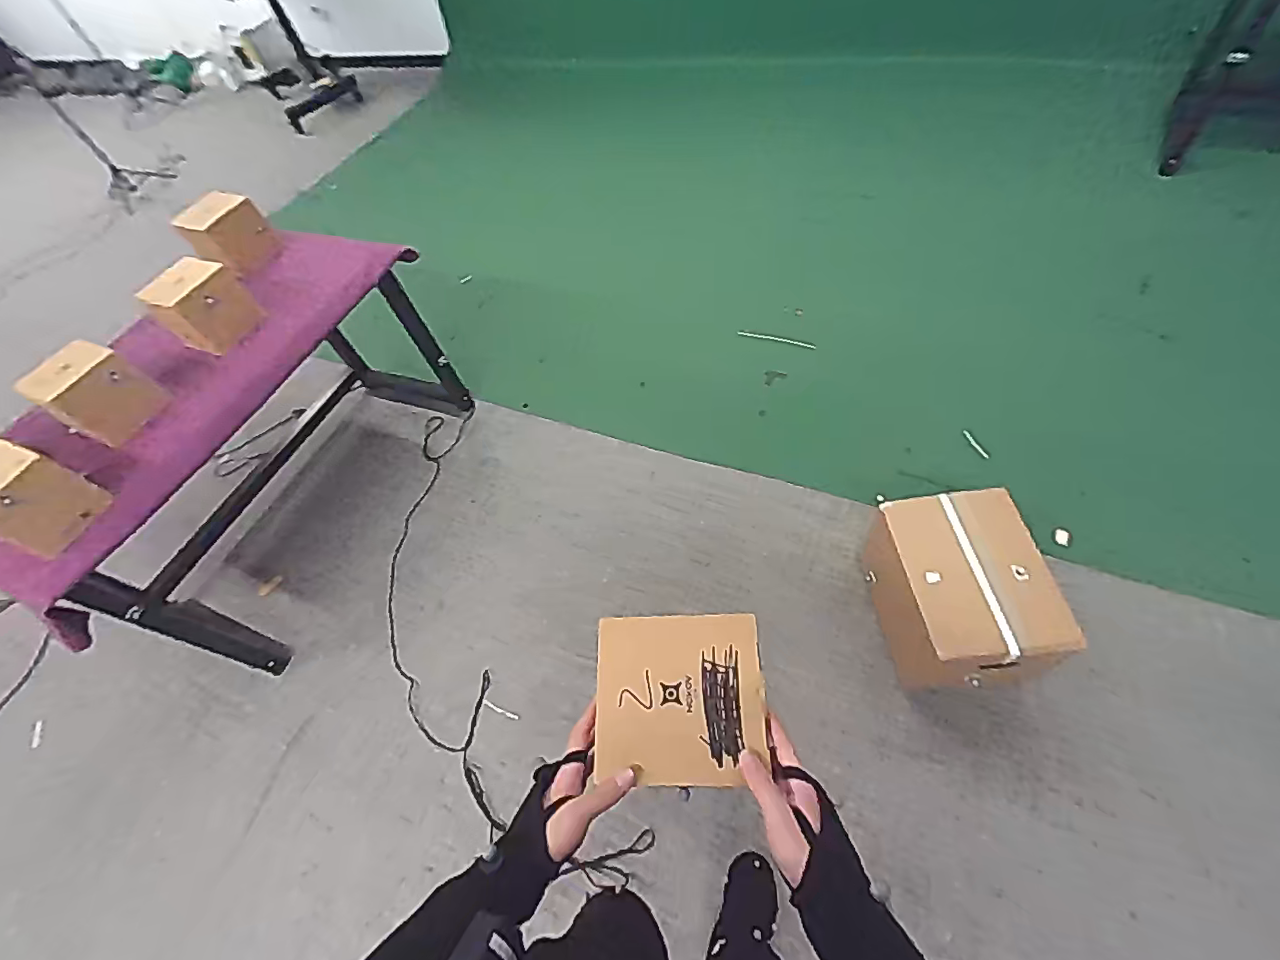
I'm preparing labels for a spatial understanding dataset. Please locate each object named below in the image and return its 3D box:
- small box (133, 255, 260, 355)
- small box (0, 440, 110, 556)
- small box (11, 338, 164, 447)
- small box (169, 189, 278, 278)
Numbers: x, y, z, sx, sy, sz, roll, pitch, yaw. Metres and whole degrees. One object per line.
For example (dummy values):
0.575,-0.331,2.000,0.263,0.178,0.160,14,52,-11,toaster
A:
-1.178,-0.471,1.458,0.168,0.176,0.179,17,63,20,small box
-1.302,0.040,1.139,0.179,0.176,0.168,14,61,20,small box
-1.319,-0.212,1.310,0.168,0.176,0.179,17,61,21,small box
-1.260,-0.755,1.656,0.168,0.176,0.179,19,63,20,small box
